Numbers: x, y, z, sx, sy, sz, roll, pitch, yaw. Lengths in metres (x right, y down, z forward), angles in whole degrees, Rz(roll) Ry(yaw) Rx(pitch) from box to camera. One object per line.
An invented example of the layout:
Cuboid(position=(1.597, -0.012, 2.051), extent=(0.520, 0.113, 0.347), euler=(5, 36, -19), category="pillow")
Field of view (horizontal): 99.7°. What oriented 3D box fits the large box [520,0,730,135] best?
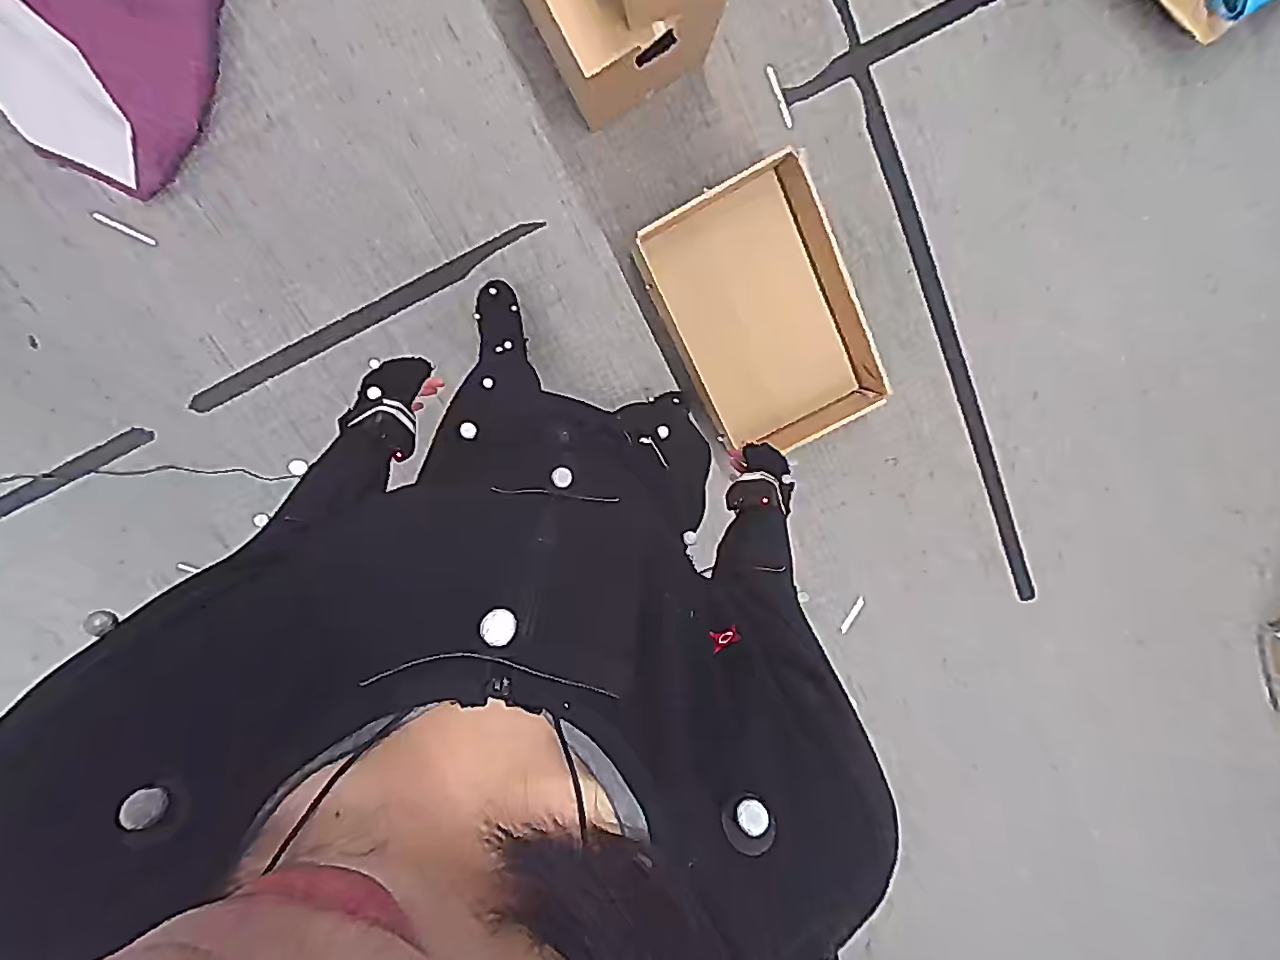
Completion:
Cuboid(position=(-0.070, -1.010, 1.075), extent=(0.320, 0.320, 0.408), euler=(-30, 106, 7), category="large box")
